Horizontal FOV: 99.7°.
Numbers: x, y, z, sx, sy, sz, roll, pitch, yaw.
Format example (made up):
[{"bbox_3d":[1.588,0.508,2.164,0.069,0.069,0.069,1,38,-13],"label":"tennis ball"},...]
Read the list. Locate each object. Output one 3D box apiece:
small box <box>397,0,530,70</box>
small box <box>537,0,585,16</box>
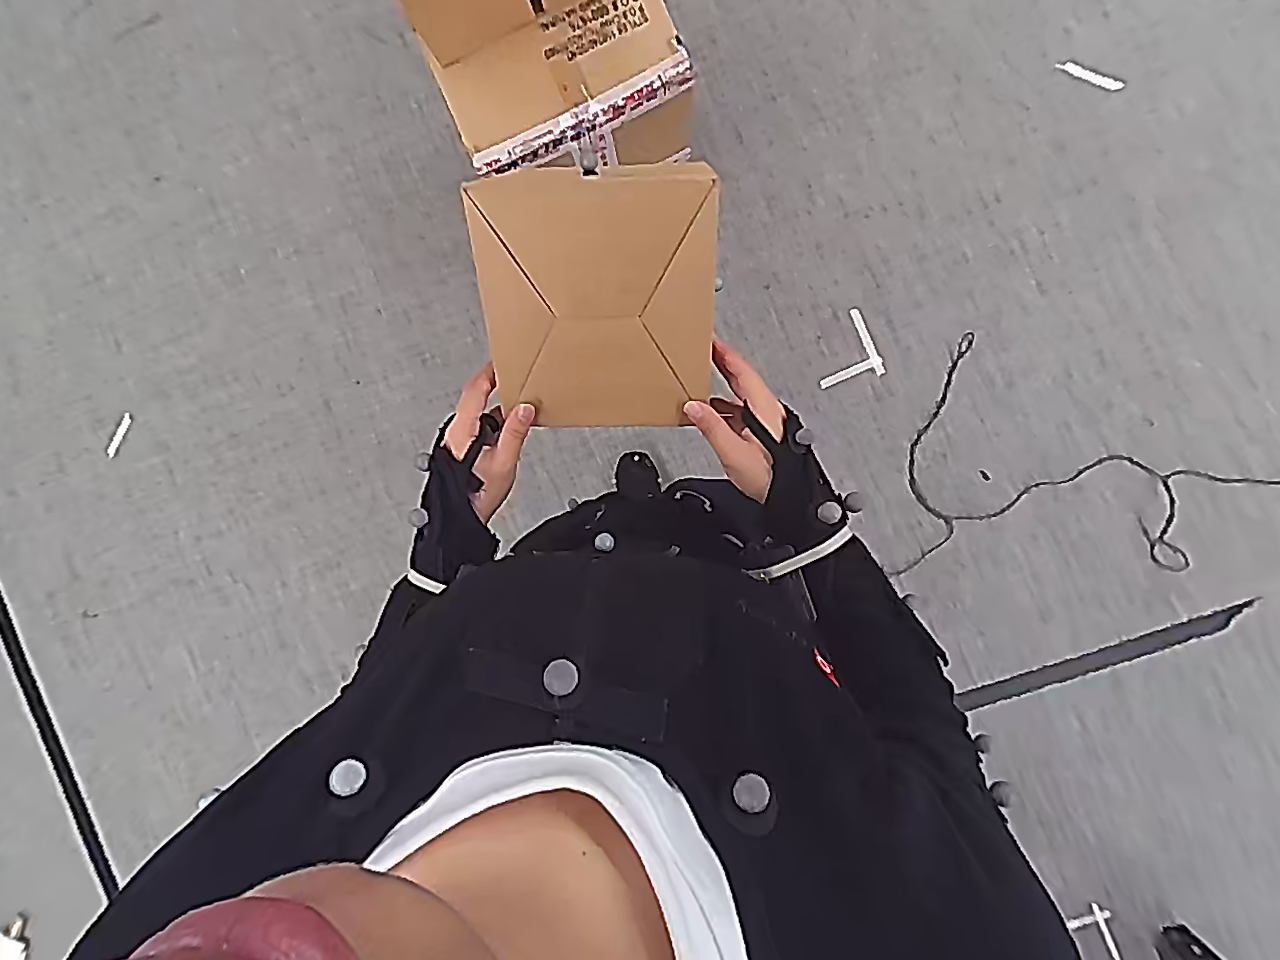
[{"bbox_3d":[-0.279,-0.771,0.802,0.179,0.176,0.168,-22,90,6],"label":"small box"},{"bbox_3d":[-0.106,-0.848,0.788,0.179,0.176,0.168,-23,91,3],"label":"small box"}]
